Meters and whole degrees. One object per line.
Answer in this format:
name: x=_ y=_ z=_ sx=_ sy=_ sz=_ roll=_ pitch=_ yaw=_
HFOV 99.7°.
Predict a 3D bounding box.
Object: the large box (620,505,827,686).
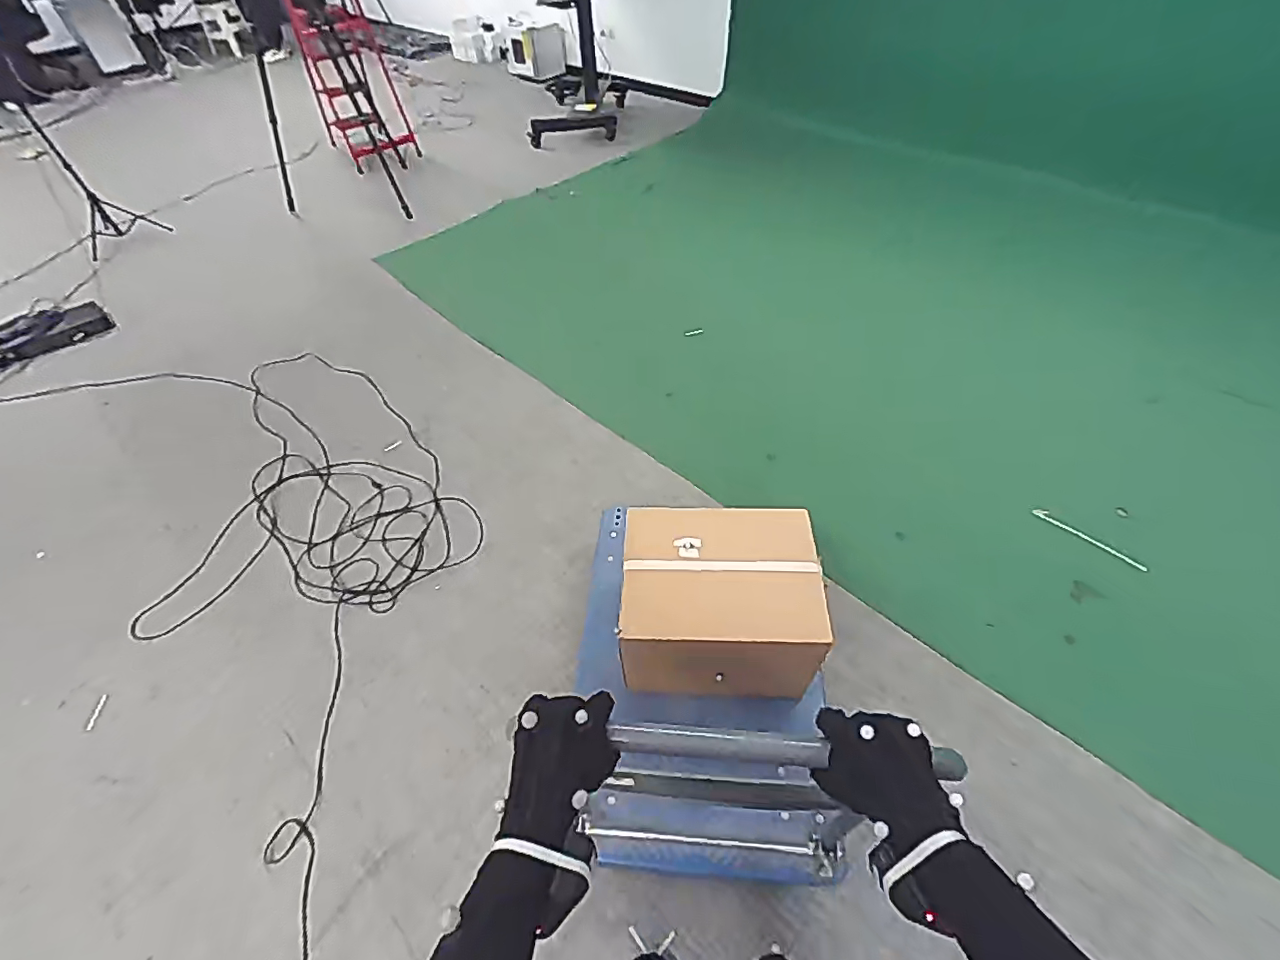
large box: x=0.171 y=0.273 z=1.245 sx=0.408 sy=0.320 sz=0.320 roll=-1 pitch=50 yaw=3
